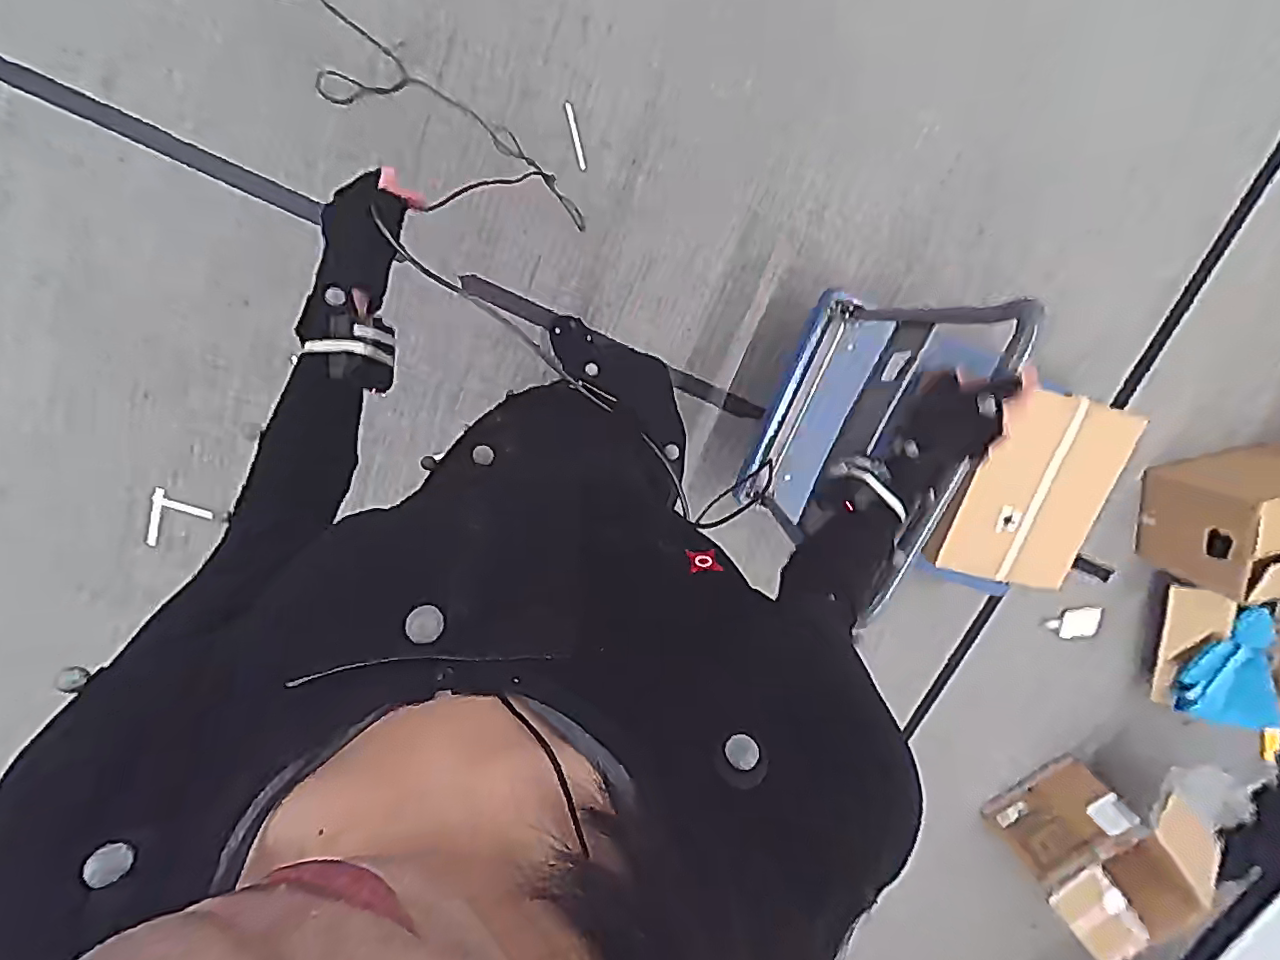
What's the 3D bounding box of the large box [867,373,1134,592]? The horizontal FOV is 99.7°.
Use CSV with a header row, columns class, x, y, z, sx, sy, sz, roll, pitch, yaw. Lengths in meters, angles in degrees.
class,x,y,z,sx,sy,sz,roll,pitch,yaw
large box,0.806,-0.010,1.273,0.320,0.320,0.408,13,106,-8
